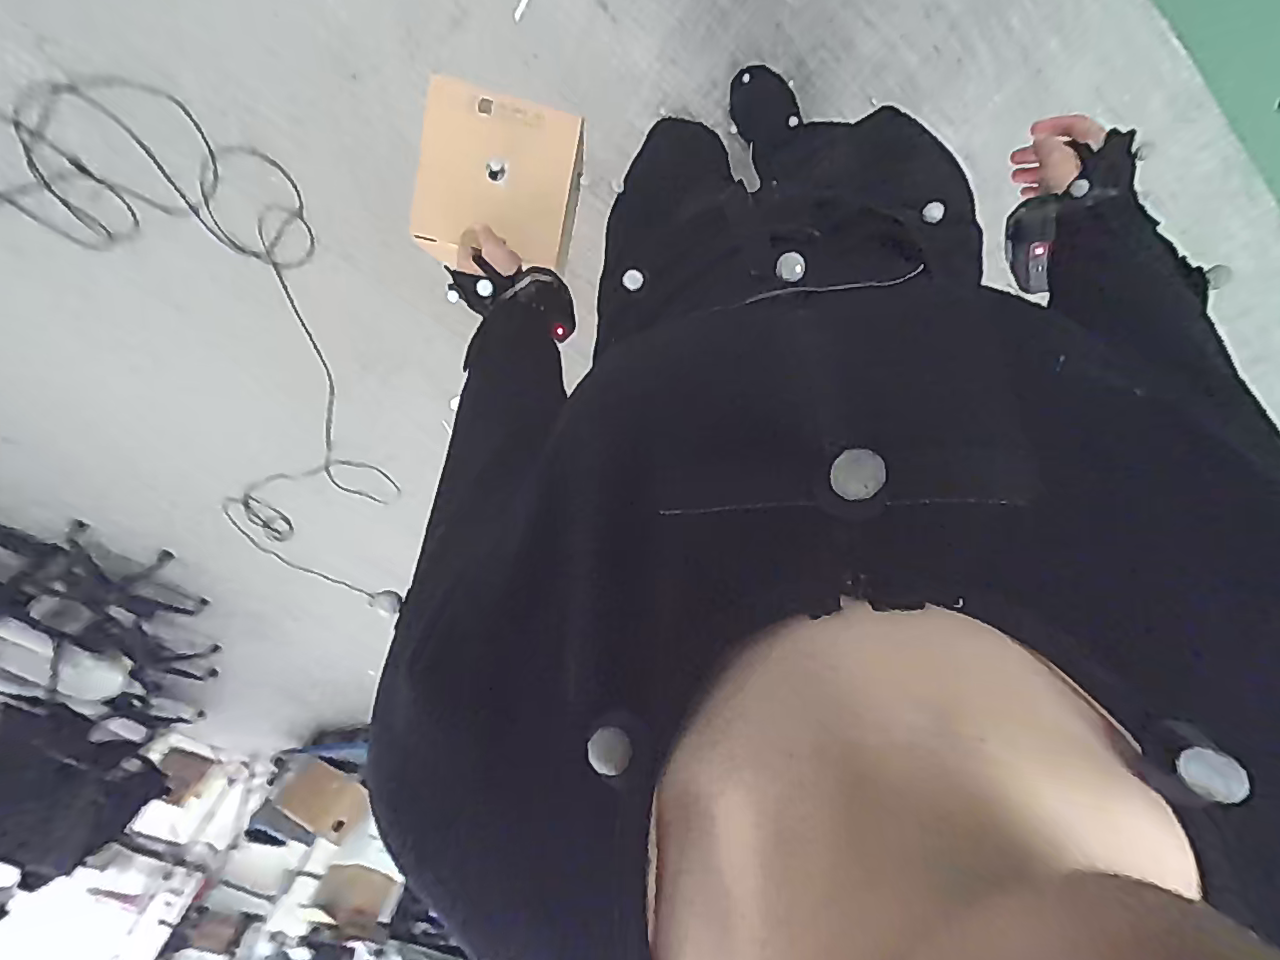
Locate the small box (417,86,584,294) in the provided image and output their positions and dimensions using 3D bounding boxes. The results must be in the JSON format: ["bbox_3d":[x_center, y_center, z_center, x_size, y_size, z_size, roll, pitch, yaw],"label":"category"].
[{"bbox_3d":[-0.166,-0.350,0.680,0.168,0.179,0.176,10,99,-8],"label":"small box"}]
